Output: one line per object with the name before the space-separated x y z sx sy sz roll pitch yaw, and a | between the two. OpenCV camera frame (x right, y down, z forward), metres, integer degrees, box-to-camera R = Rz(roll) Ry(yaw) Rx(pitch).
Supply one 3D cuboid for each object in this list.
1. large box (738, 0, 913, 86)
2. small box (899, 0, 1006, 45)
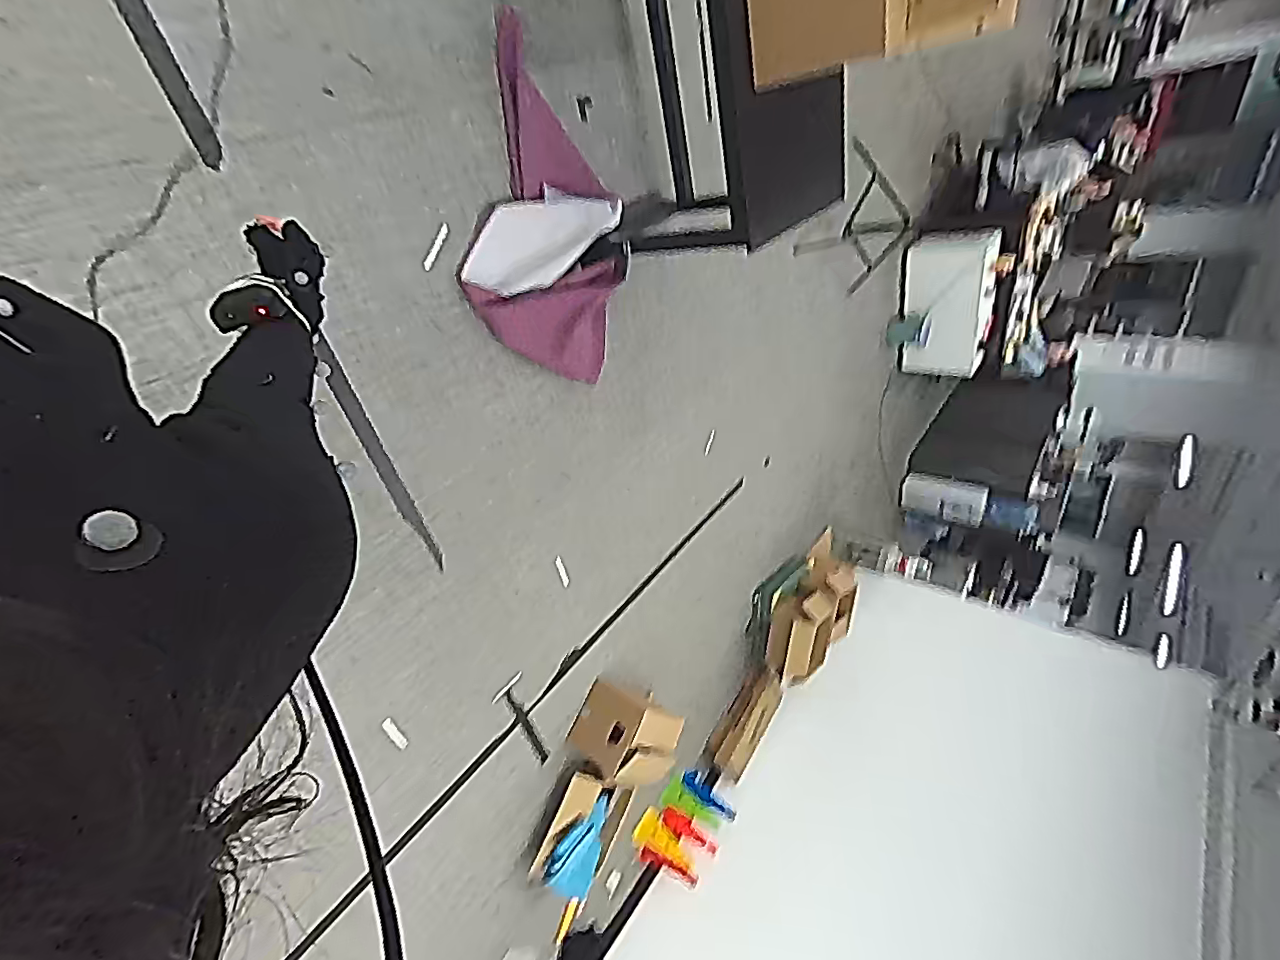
large box | 0.415 -1.155 1.182 0.320 0.320 0.408 -42 133 -33
small box | 0.656 -1.038 1.126 0.179 0.176 0.168 -32 126 -42
